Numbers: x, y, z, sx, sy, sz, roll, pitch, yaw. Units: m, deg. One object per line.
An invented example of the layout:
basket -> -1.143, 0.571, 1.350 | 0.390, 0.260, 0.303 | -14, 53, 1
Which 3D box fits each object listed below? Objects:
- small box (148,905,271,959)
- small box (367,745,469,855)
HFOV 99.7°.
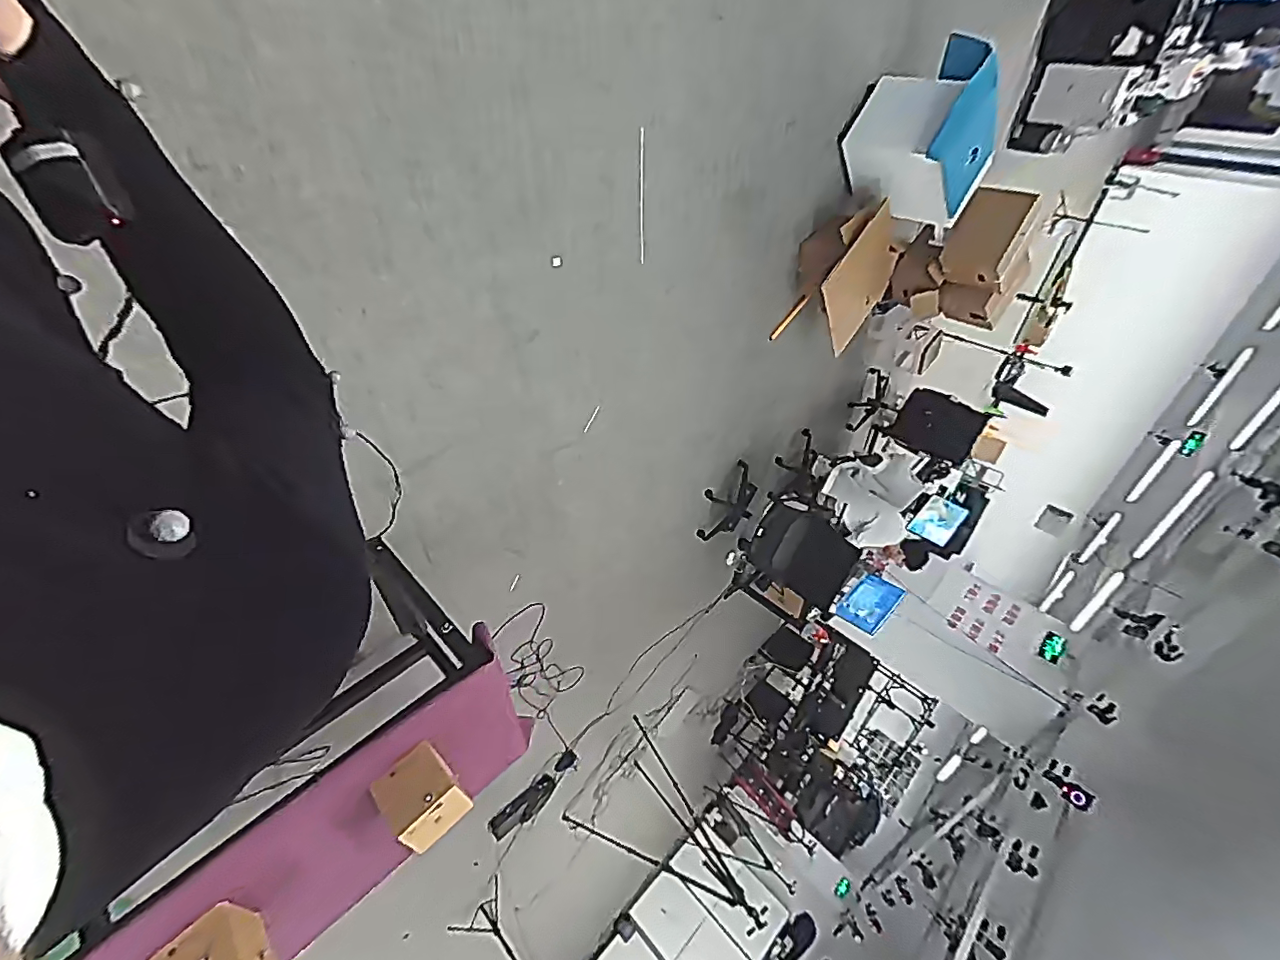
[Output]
small box -> -0.943, 1.080, 1.178 | 0.168, 0.176, 0.179 | -35, 143, -31
small box -> -0.591, 0.850, 1.445 | 0.168, 0.176, 0.179 | -38, 143, -28
